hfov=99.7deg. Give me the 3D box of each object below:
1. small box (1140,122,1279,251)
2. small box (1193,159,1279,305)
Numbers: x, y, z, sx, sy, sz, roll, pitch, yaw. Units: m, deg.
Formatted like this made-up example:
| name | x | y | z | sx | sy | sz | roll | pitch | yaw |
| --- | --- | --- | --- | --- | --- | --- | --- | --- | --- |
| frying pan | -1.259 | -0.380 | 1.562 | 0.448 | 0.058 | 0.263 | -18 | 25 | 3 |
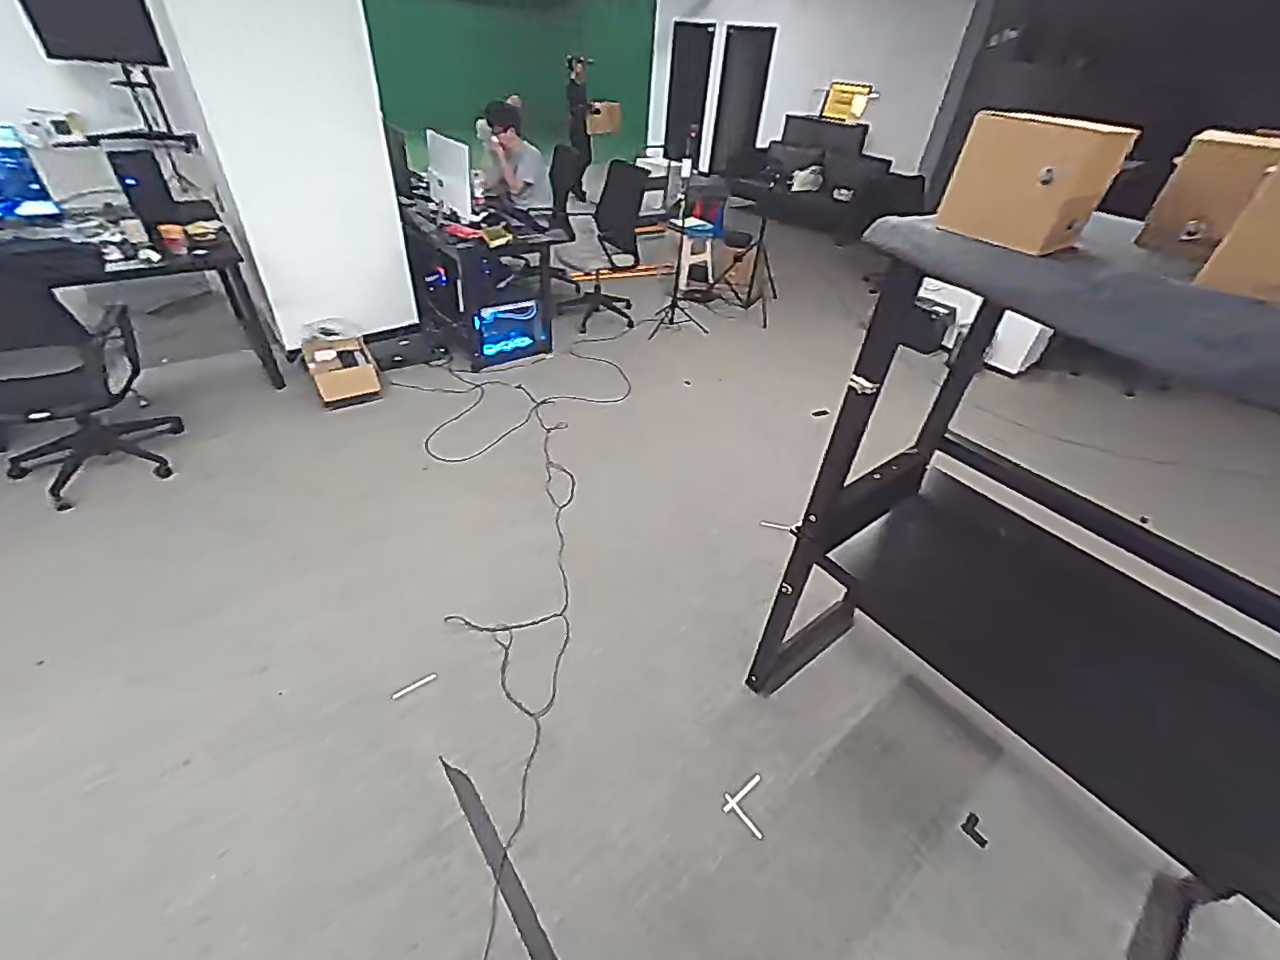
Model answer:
| name | x | y | z | sx | sy | sz | roll | pitch | yaw |
| --- | --- | --- | --- | --- | --- | --- | --- | --- | --- |
| small box | 0.996 | -0.491 | 0.909 | 0.179 | 0.176 | 0.168 | -30 | 49 | -35 |
| small box | 0.860 | -0.309 | 0.666 | 0.168 | 0.176 | 0.179 | -23 | 47 | -33 |
